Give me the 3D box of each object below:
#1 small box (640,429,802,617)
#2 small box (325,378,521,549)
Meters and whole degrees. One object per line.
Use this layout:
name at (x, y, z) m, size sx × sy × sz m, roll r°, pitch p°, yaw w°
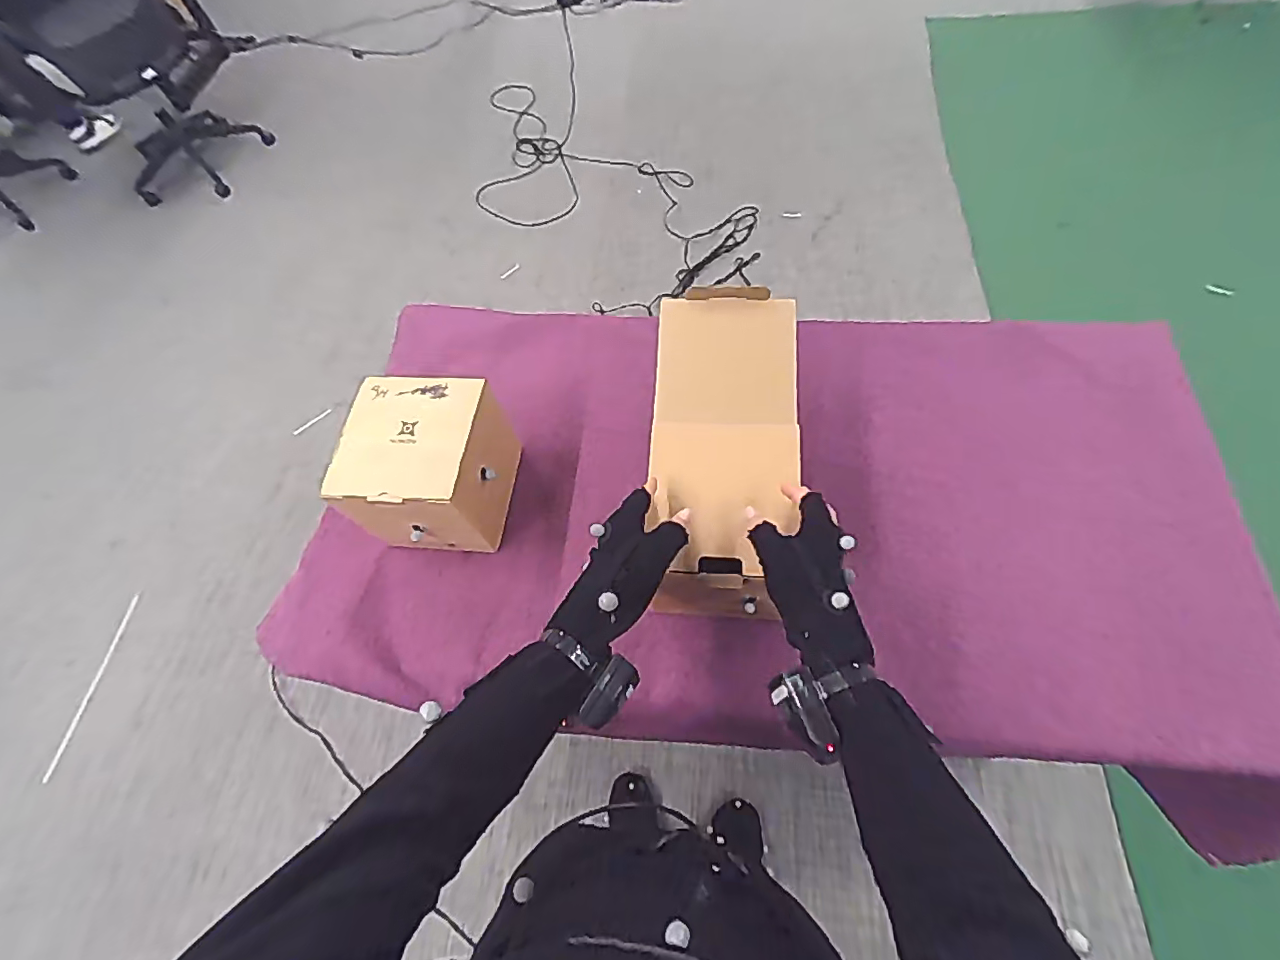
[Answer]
small box at (0.097, 0.057, 0.649) m, size 0.168 × 0.176 × 0.179 m, roll 3°, pitch 62°, yaw 7°
small box at (-0.273, -0.016, 0.728) m, size 0.168 × 0.176 × 0.179 m, roll 3°, pitch 63°, yaw 7°
